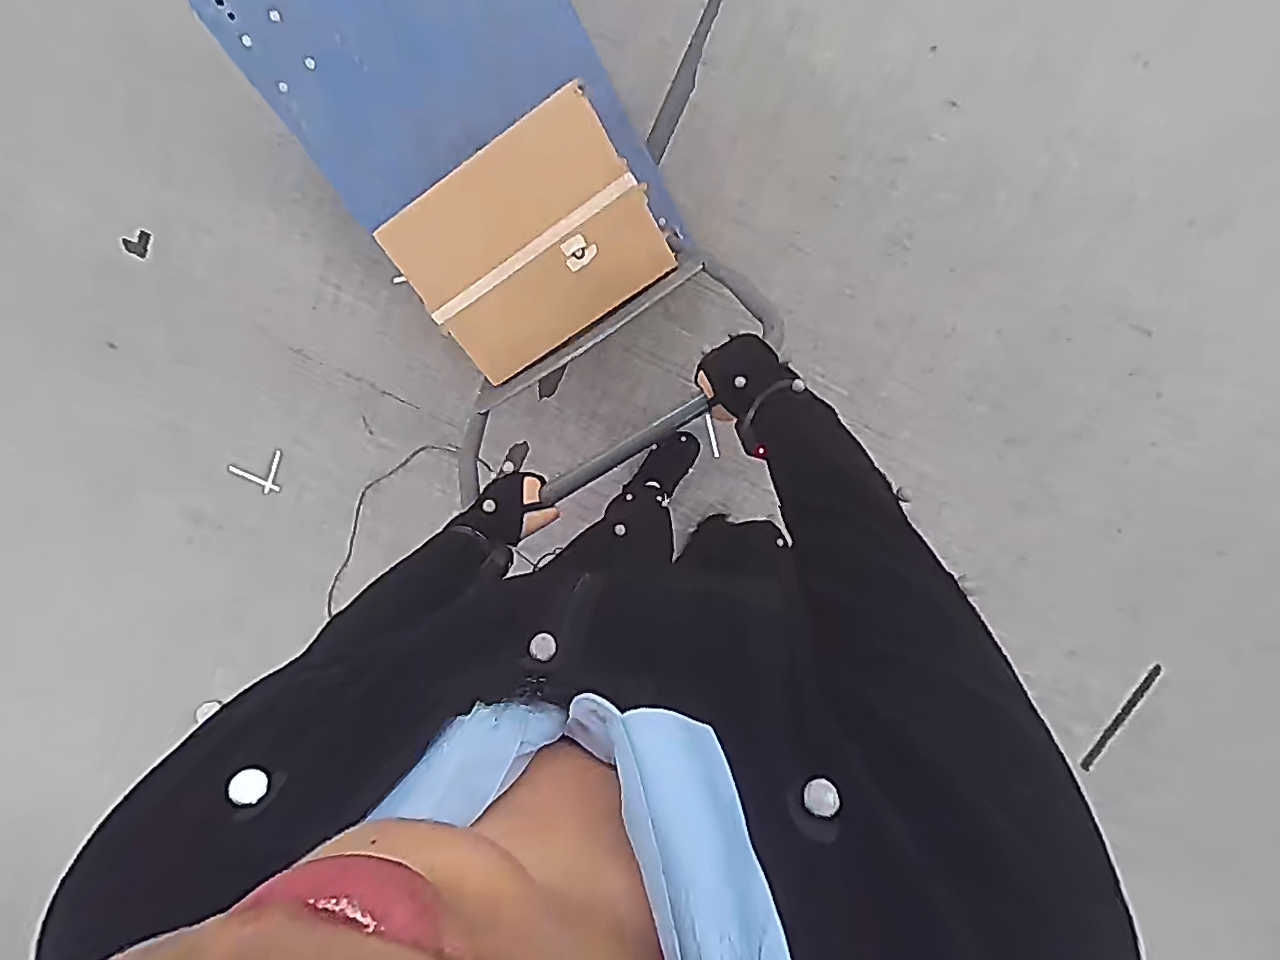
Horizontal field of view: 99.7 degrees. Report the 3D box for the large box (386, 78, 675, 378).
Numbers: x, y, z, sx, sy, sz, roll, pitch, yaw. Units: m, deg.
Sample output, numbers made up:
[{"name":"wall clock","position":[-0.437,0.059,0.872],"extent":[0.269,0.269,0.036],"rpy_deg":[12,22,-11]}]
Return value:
[{"name":"large box","position":[-0.198,-0.468,1.056],"extent":[0.408,0.320,0.320],"rpy_deg":[-32,117,9]}]
